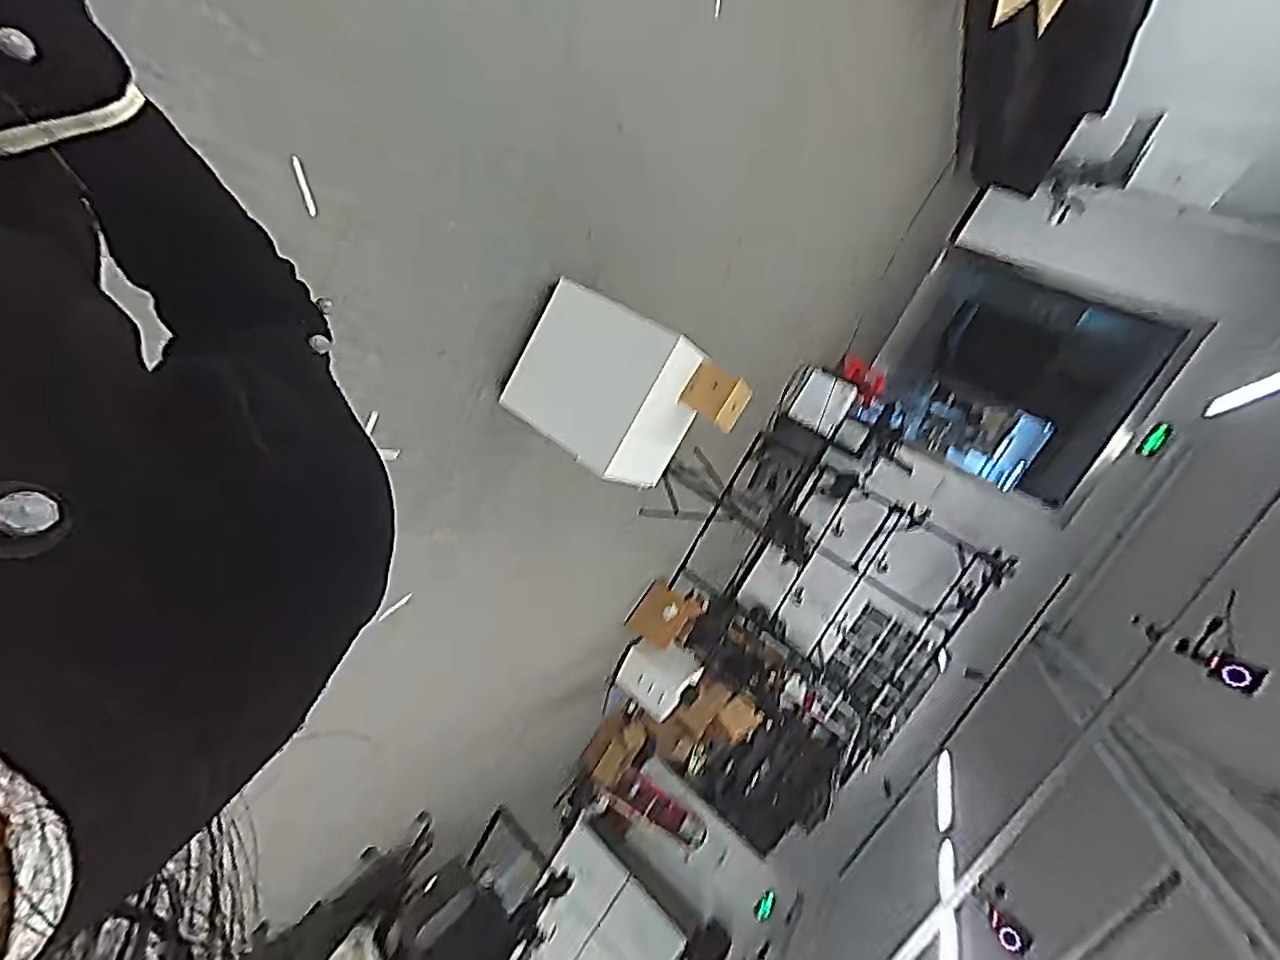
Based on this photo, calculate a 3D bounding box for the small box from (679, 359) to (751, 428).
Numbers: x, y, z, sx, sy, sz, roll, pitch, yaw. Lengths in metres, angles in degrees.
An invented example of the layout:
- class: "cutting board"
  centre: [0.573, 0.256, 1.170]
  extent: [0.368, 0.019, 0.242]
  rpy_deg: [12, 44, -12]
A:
- class: "small box"
  centre: [0.265, -0.311, 1.933]
  extent: [0.168, 0.176, 0.179]
  rpy_deg: [-58, 154, 7]
